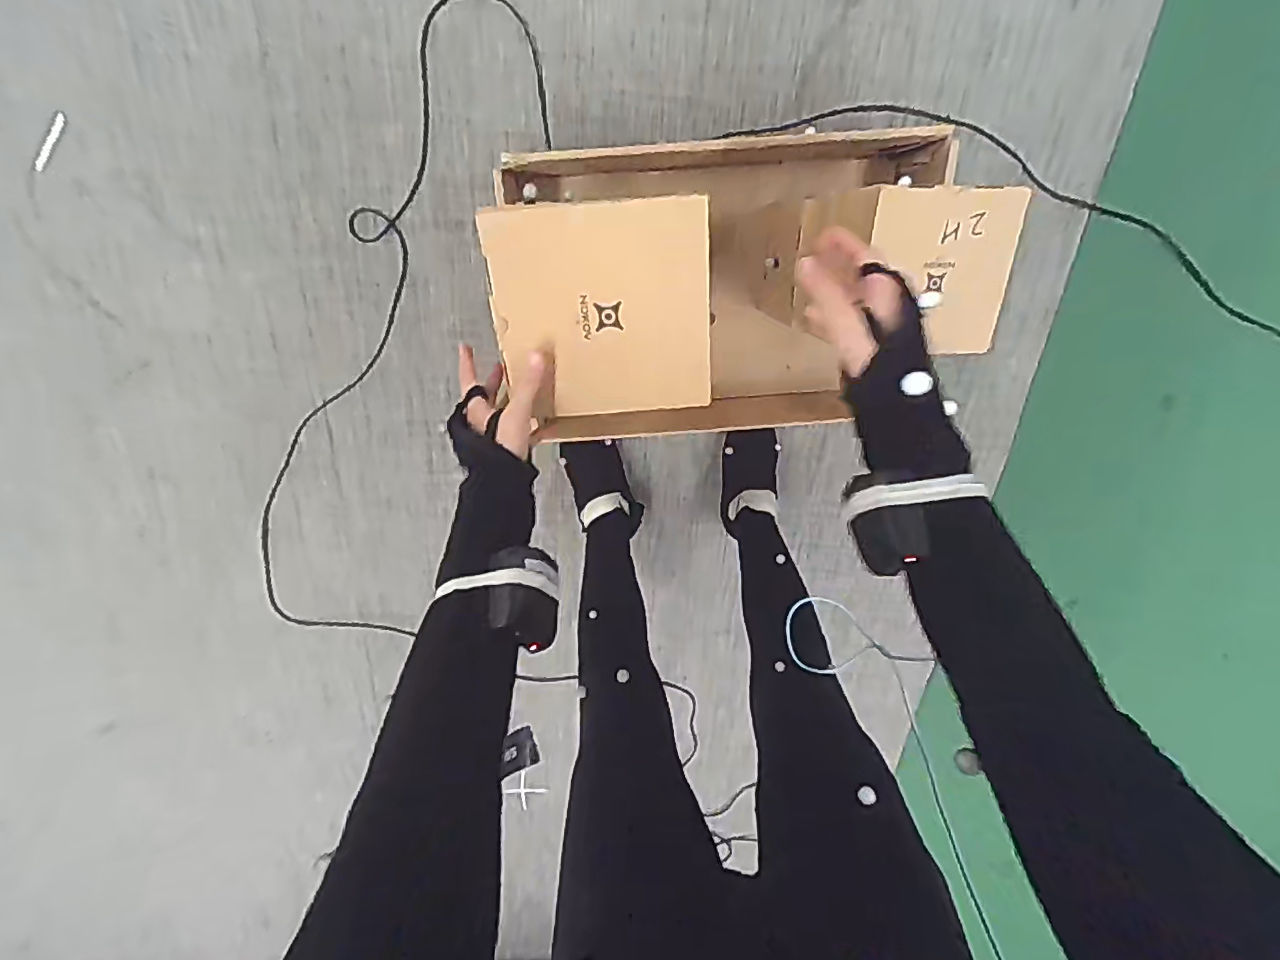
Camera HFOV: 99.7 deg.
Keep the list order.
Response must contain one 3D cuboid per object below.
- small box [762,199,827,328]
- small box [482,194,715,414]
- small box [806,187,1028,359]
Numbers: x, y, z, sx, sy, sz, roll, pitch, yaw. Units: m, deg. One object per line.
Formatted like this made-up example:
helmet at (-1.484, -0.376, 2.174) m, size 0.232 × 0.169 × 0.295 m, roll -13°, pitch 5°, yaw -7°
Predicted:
small box at (0.293, -0.323, 0.815) m, size 0.179 × 0.176 × 0.168 m, roll 0°, pitch 114°, yaw -3°
small box at (-0.030, -0.171, 0.505) m, size 0.179 × 0.176 × 0.168 m, roll -4°, pitch 116°, yaw 0°
small box at (0.319, -0.254, 0.667) m, size 0.168 × 0.176 × 0.179 m, roll -1°, pitch 114°, yaw -5°
